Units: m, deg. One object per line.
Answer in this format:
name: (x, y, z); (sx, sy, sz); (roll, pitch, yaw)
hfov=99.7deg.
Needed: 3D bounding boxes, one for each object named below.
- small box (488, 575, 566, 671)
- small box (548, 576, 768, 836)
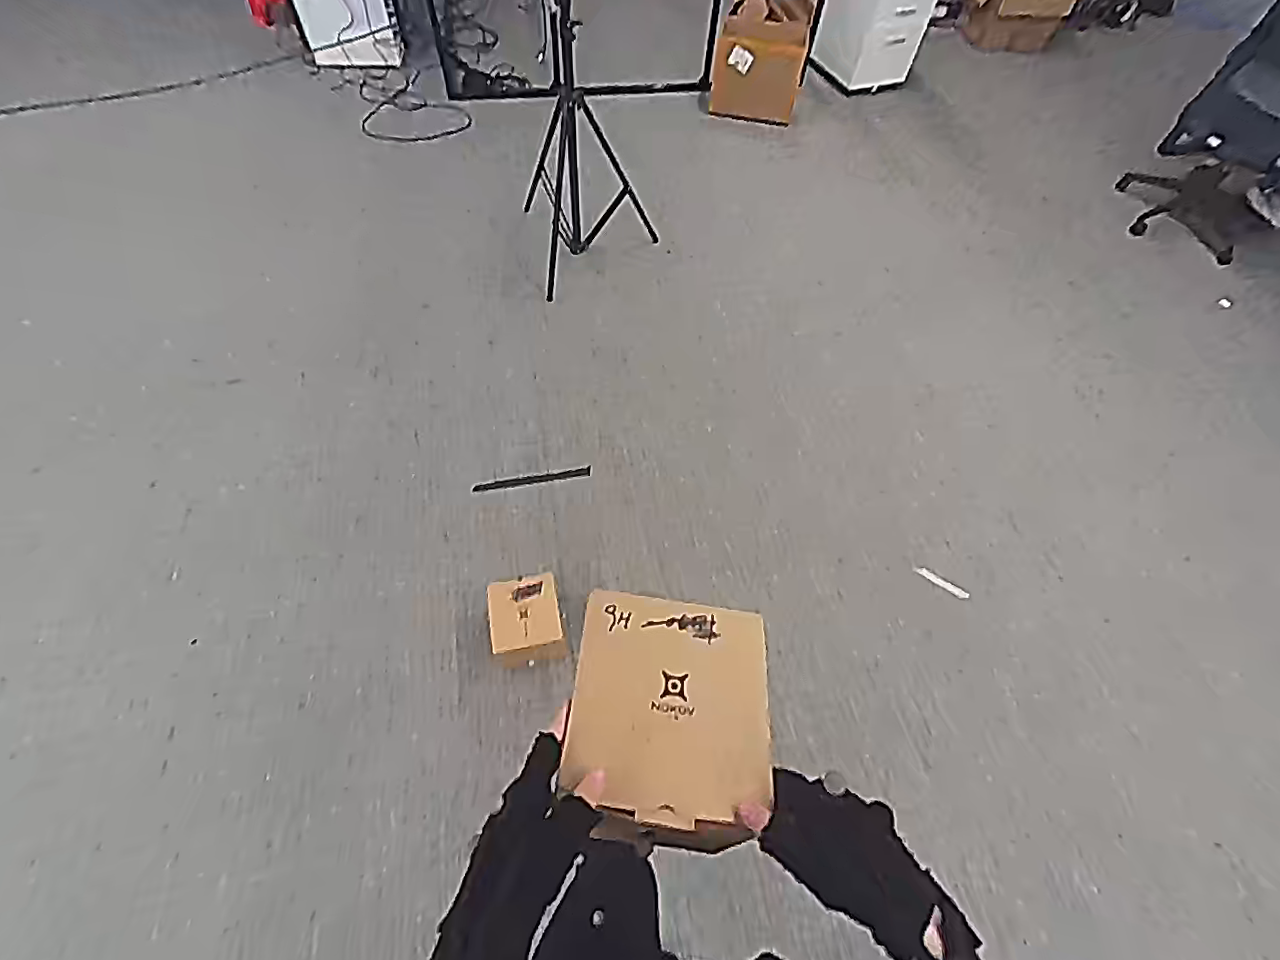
small box: (-0.282, 0.363, 1.365); (0.168, 0.176, 0.179); (-10, 60, -9)
small box: (0.013, 0.217, 0.506); (0.168, 0.176, 0.179); (10, 51, -3)
